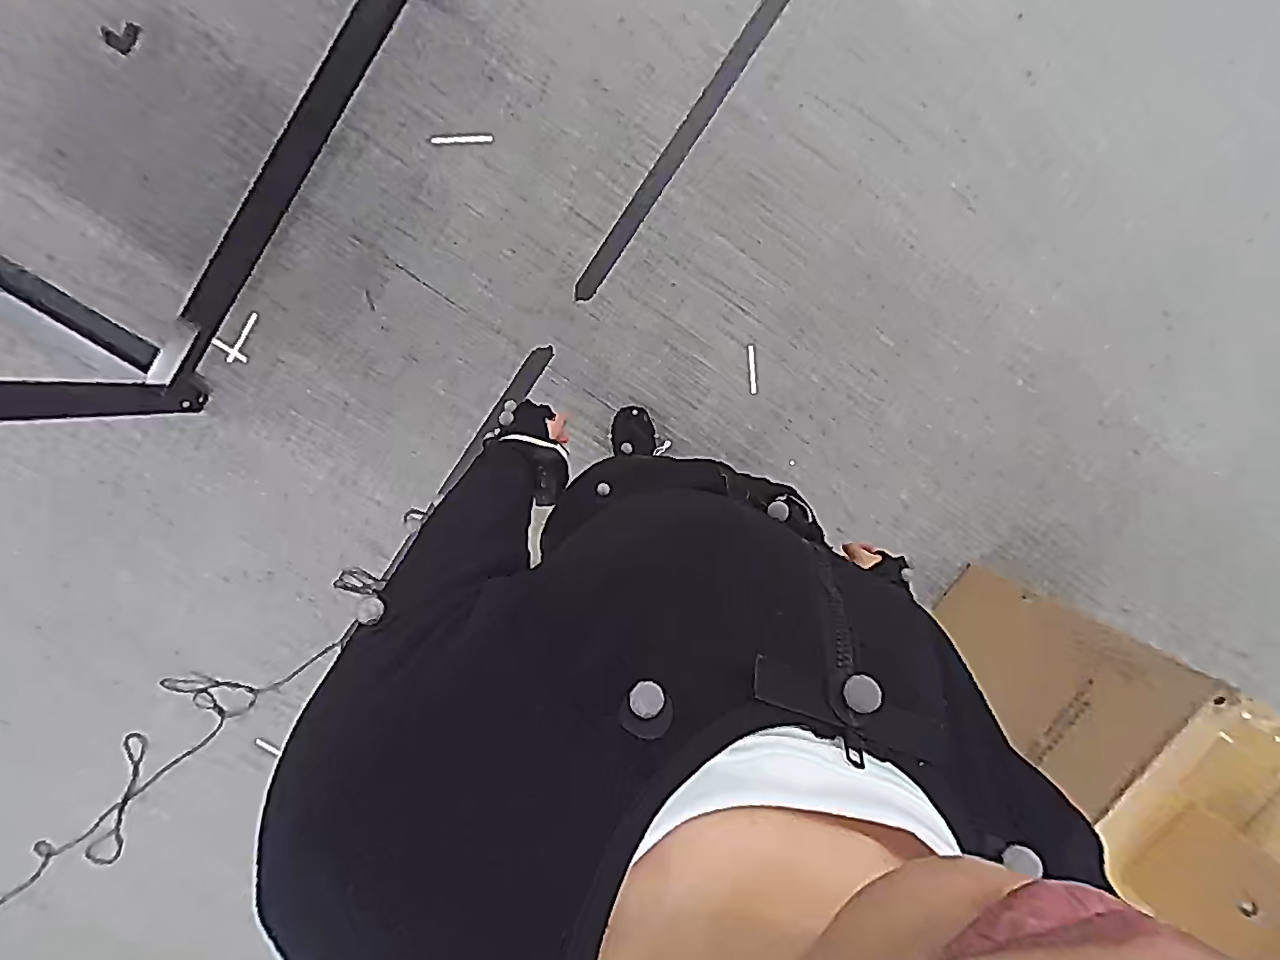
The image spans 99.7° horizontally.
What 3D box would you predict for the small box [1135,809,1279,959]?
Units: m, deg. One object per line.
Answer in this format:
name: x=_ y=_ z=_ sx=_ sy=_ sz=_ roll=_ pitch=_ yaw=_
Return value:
small box: x=0.903 y=0.634 z=0.791 sx=0.168 sy=0.176 sz=0.179 roll=36 pitch=97 yaw=-6
